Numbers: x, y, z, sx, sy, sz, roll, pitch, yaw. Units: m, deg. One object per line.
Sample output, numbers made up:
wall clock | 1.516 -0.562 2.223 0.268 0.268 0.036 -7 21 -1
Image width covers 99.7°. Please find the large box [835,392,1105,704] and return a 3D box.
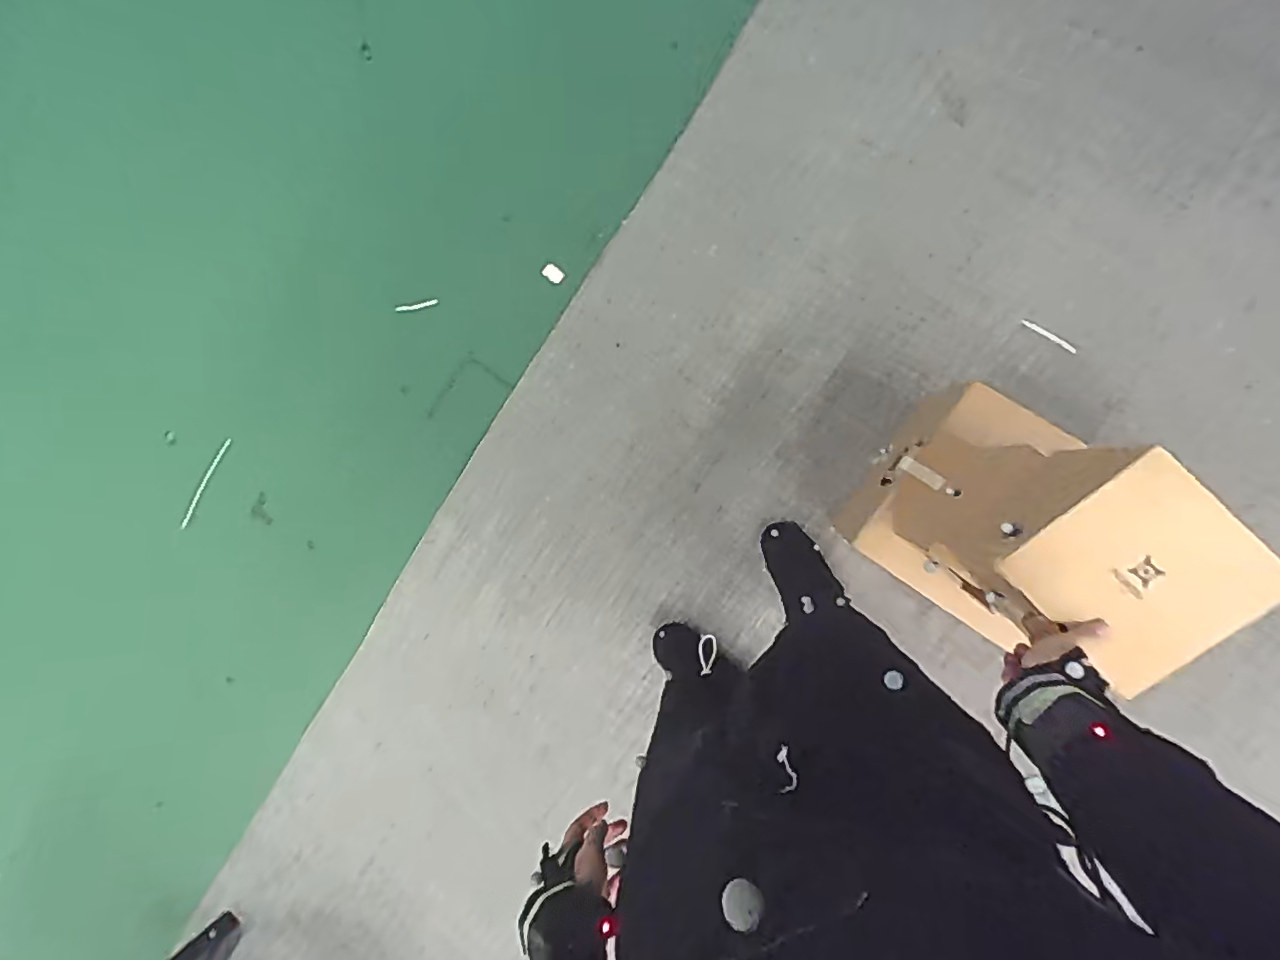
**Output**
large box | 0.617 0.092 0.946 0.408 0.320 0.320 35 100 9

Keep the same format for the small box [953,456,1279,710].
small box | 0.473 0.090 0.562 0.179 0.176 0.168 -42 82 11
